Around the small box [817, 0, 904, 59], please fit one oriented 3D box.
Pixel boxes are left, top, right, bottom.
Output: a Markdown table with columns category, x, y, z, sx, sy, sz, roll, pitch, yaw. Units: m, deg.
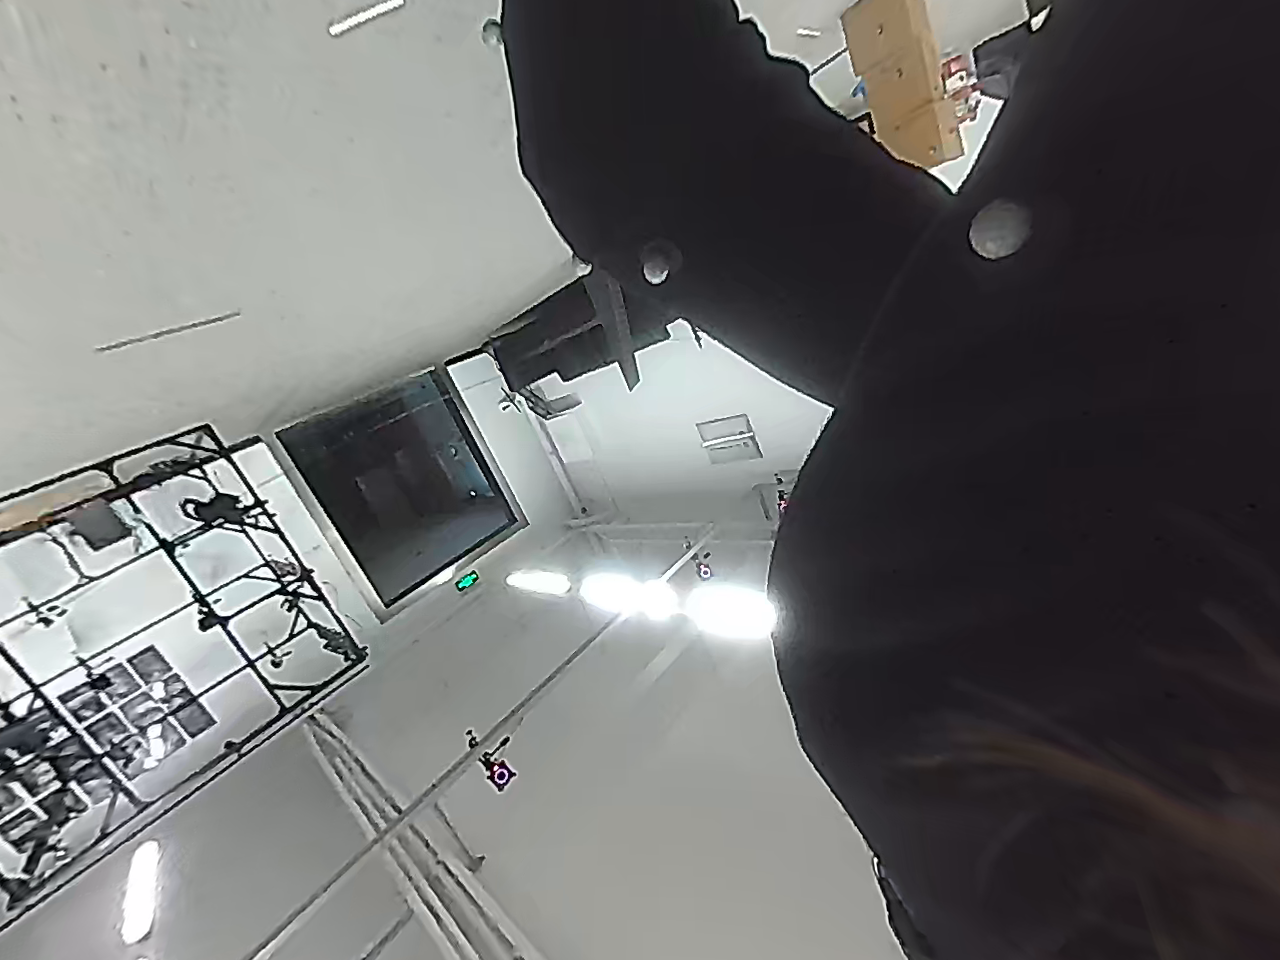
| category | x | y | z | sx | sy | sz | roll | pitch | yaw |
| --- | --- | --- | --- | --- | --- | --- | --- | --- | --- |
| small box | 0.634 | -1.368 | 1.570 | 0.179 | 0.176 | 0.168 | -7 | -155 | 48 |

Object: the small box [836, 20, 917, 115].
| category | x | y | z | sx | sy | sz | roll | pitch | yaw |
| --- | --- | --- | --- | --- | --- | --- | --- | --- | --- |
| small box | 0.712 | -1.235 | 1.622 | 0.168 | 0.176 | 0.179 | -8 | -157 | 43 |
